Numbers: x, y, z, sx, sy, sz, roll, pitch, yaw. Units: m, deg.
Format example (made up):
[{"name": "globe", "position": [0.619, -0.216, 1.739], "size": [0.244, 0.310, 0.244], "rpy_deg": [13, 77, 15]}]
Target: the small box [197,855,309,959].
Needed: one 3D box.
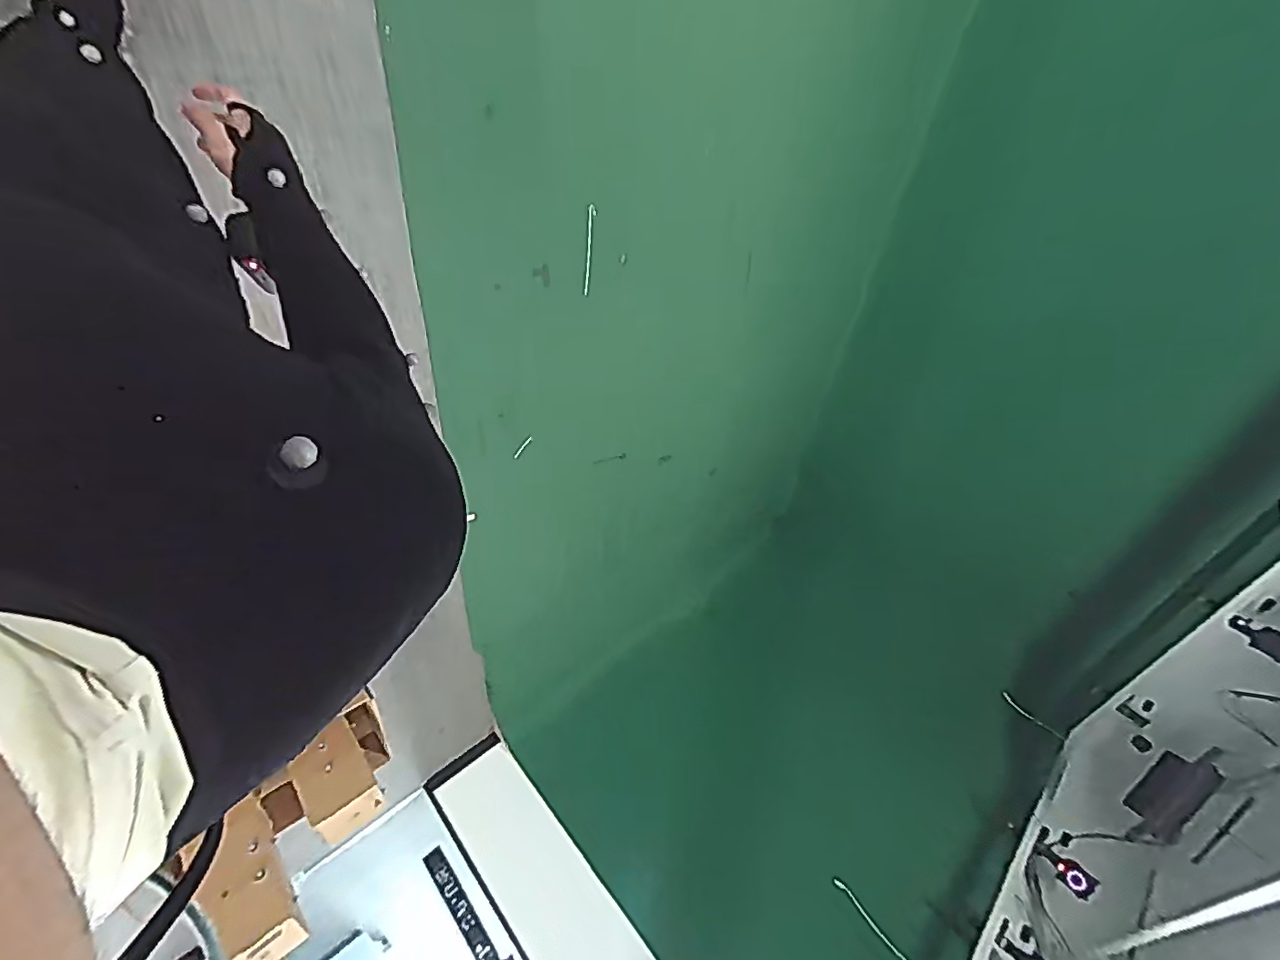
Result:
[{"name": "small box", "position": [-0.958, 1.080, 1.341], "size": [0.168, 0.176, 0.179], "rpy_deg": [-25, 140, -35]}]

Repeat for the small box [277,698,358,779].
[{"name": "small box", "position": [-0.982, 0.813, 1.667], "size": [0.179, 0.176, 0.168], "rpy_deg": [-25, 139, -34]}]

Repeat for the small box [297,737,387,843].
[{"name": "small box", "position": [-0.873, 0.898, 1.578], "size": [0.179, 0.176, 0.168], "rpy_deg": [-27, 140, -33]}]
